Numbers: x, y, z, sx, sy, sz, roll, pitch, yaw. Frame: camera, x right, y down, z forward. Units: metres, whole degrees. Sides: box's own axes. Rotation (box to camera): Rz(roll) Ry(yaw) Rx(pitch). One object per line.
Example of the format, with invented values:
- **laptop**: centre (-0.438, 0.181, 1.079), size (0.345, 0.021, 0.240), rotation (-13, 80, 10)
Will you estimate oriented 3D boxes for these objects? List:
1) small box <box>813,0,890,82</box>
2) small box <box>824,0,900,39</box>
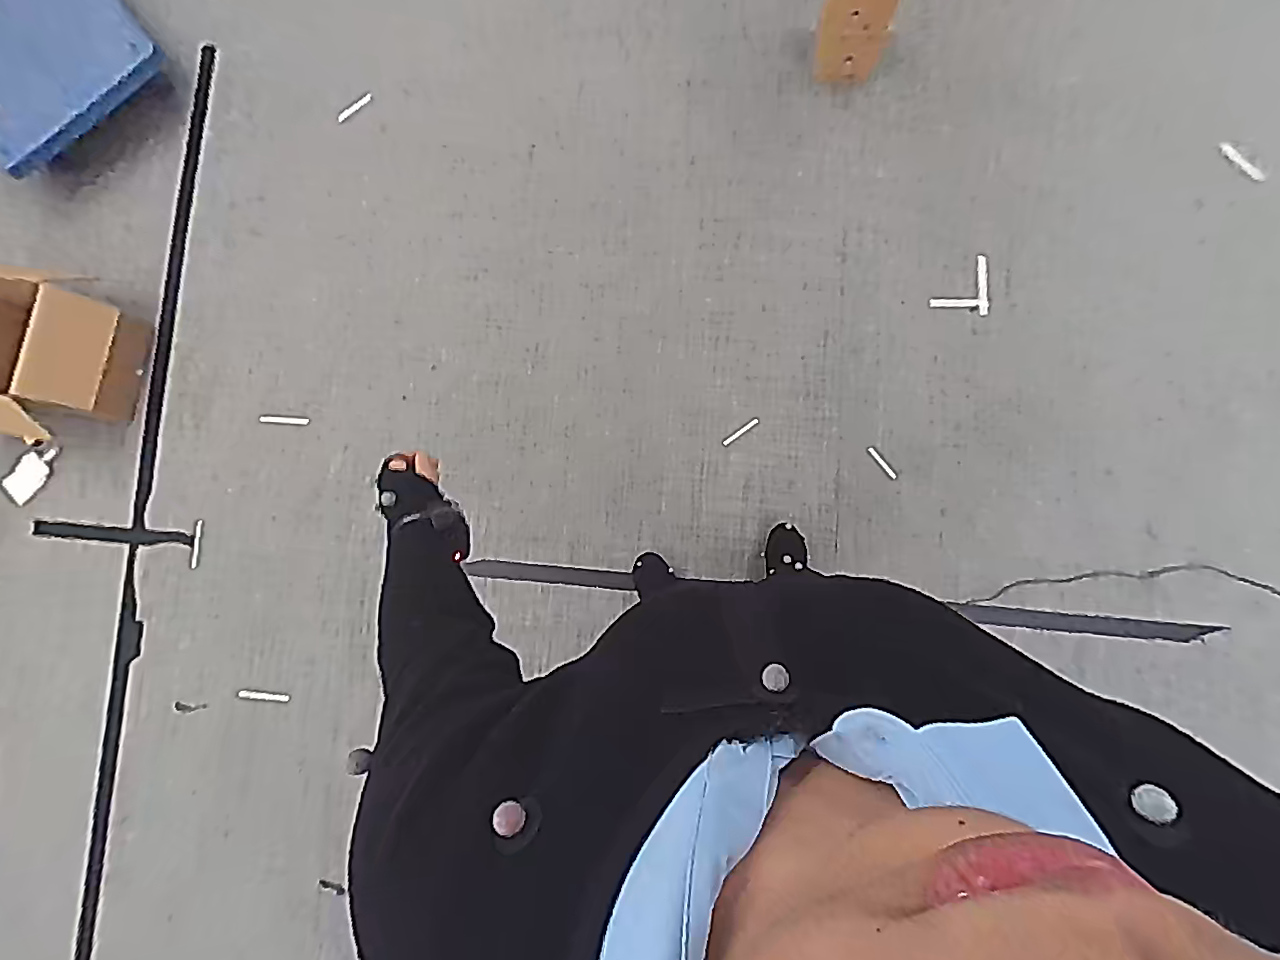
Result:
- **small box**: centre (0.597, -1.273, 1.538), size (0.168, 0.176, 0.179), rotation (2, 84, 4)
- **small box**: centre (0.580, -1.284, 1.376), size (0.168, 0.176, 0.179), rotation (8, 86, 5)
